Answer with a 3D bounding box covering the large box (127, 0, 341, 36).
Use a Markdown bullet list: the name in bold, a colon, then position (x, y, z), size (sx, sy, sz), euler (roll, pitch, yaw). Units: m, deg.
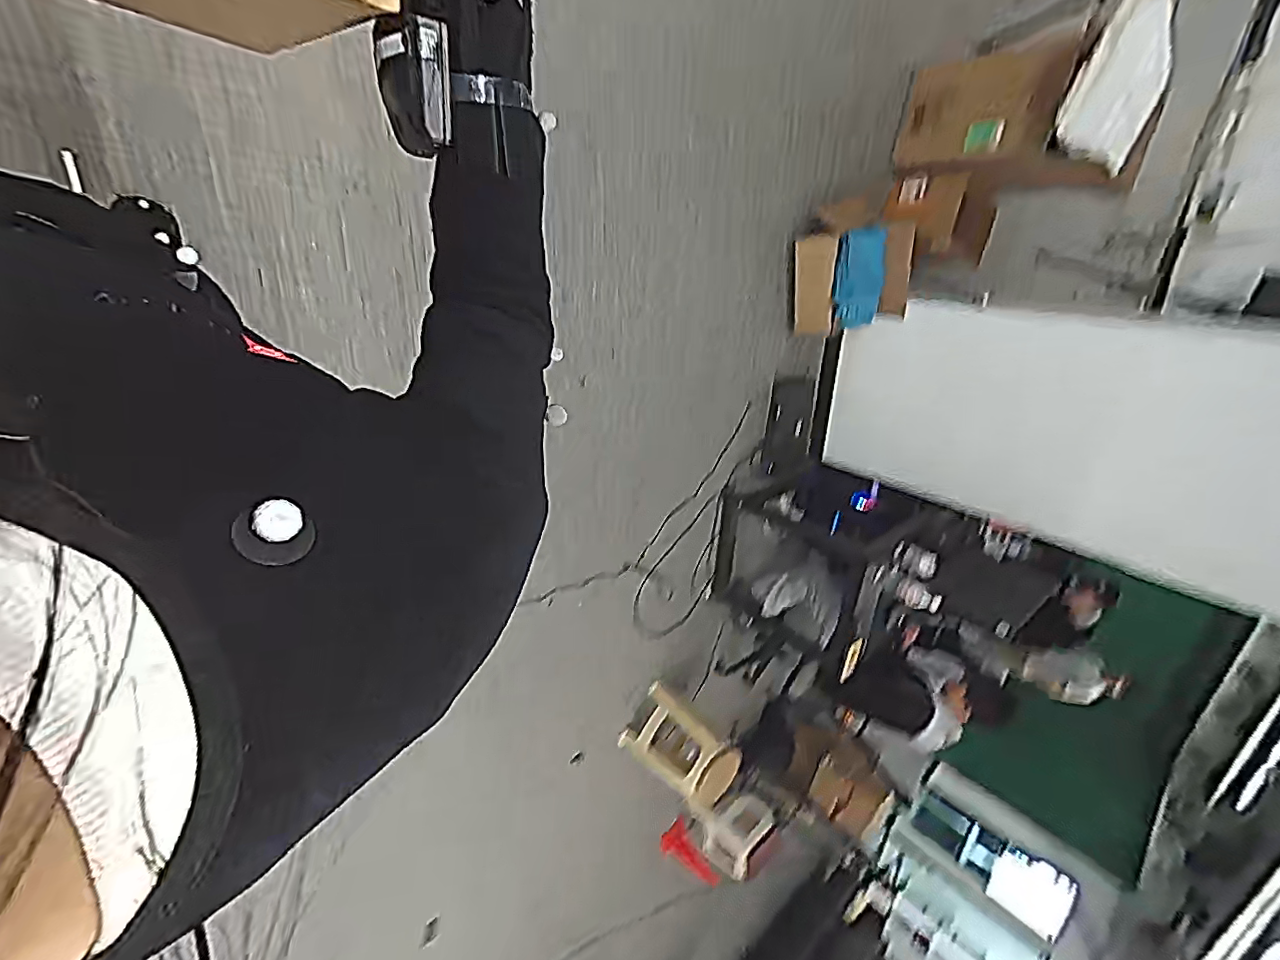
- **large box**: position (-0.359, -0.426, 0.192), size (0.408, 0.320, 0.320), euler (-14, 125, -42)
